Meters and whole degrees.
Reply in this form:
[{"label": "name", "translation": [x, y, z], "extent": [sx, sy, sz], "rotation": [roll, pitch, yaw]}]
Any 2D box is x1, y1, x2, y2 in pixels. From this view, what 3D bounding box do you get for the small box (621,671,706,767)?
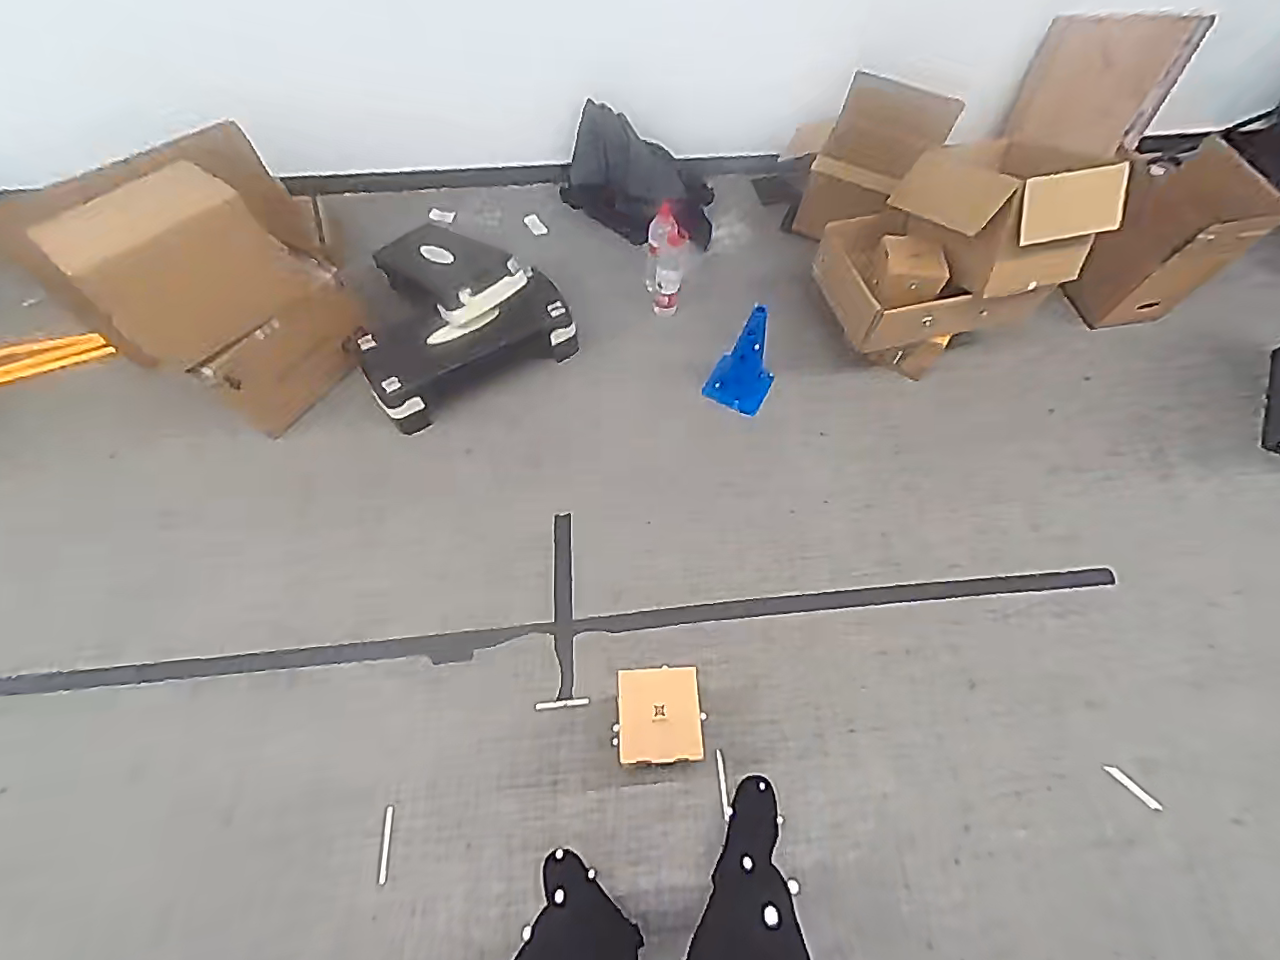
[{"label": "small box", "translation": [0.044, 0.516, 1.163], "extent": [0.168, 0.176, 0.179], "rotation": [-2, 64, -2]}]
